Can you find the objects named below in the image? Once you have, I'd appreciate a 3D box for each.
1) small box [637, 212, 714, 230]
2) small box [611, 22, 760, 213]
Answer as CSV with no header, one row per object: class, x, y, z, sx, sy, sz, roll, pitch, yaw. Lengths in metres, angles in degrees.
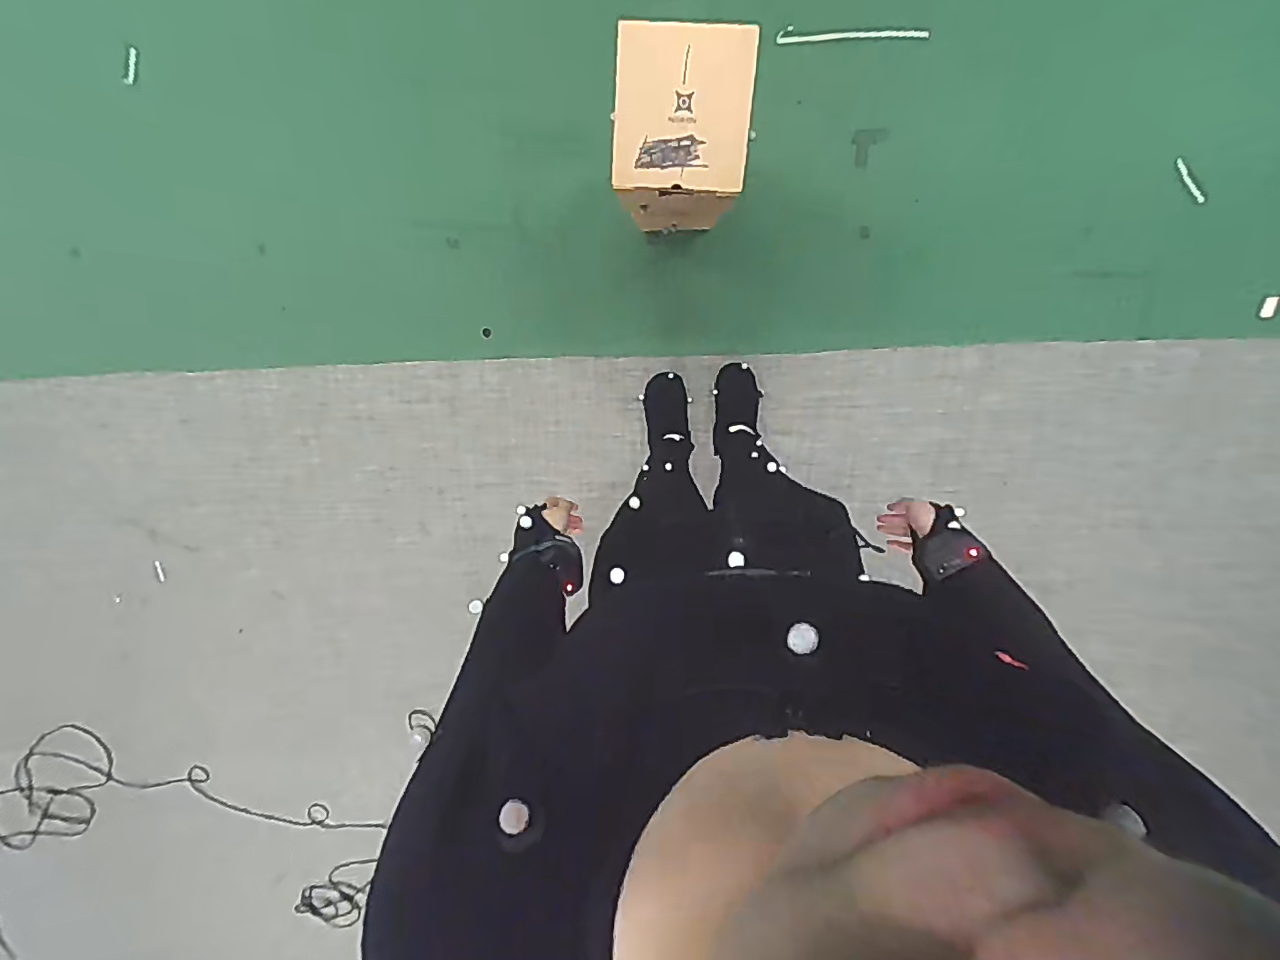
small box,0.080,-0.645,1.178,0.168,0.176,0.179,0,109,4
small box,0.057,-0.464,0.720,0.168,0.176,0.179,5,109,2
